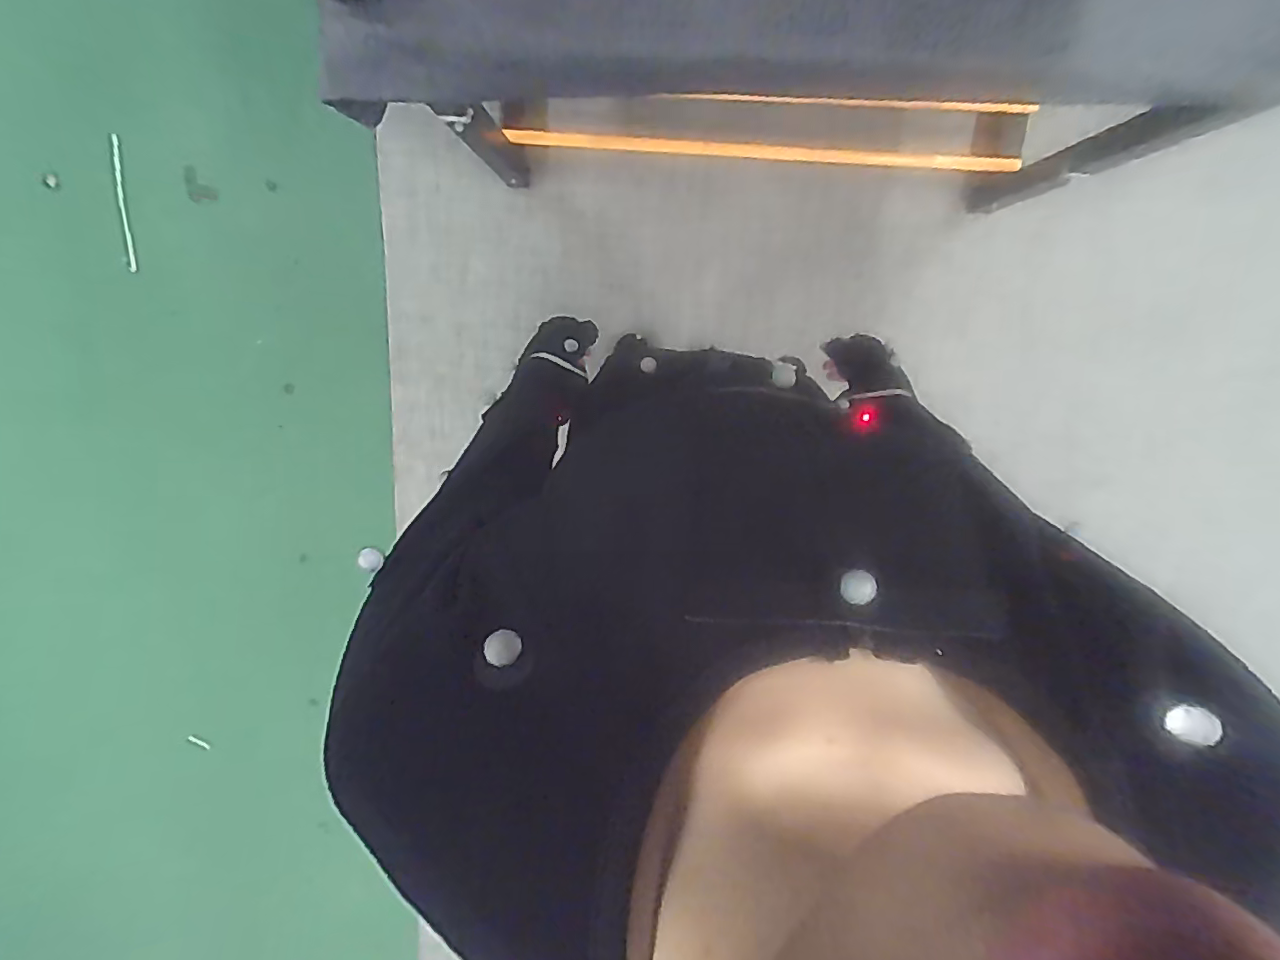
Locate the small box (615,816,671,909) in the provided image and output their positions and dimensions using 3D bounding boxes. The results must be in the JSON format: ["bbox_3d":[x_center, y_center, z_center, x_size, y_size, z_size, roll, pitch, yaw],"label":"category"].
[{"bbox_3d":[0.009,1.203,1.707,0.168,0.176,0.179,1,102,0],"label":"small box"}]
